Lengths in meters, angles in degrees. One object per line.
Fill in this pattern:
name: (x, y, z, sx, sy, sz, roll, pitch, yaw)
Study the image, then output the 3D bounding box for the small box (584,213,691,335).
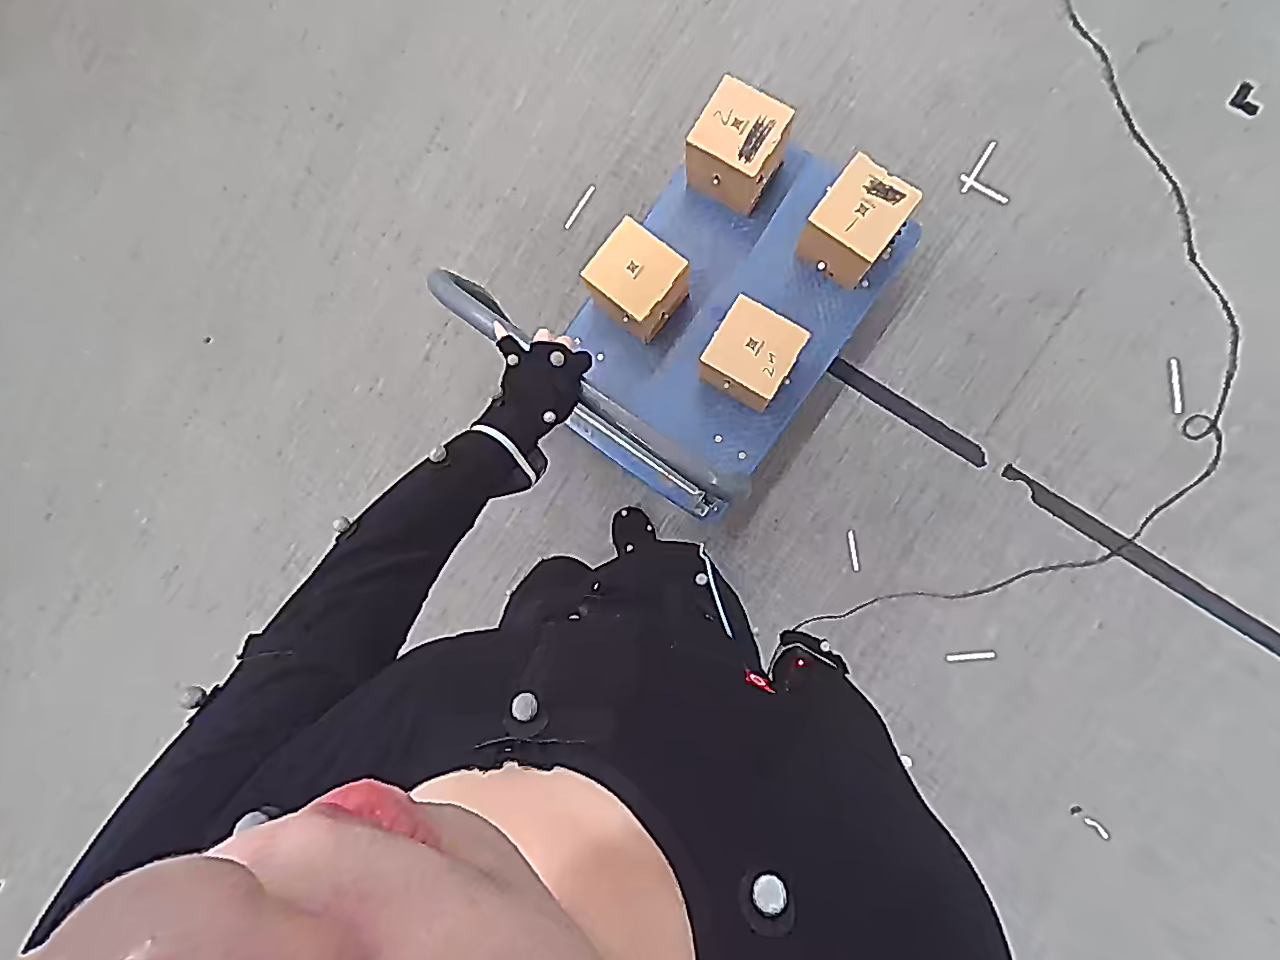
small box: (-0.001, -0.459, 1.238, 0.179, 0.176, 0.168, 39, 92, 4)

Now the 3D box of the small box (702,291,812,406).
small box: (0.251, -0.283, 1.209, 0.179, 0.176, 0.168, 32, 92, 5)

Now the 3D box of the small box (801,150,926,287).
small box: (0.479, -0.567, 1.195, 0.168, 0.176, 0.179, 38, 93, 5)
